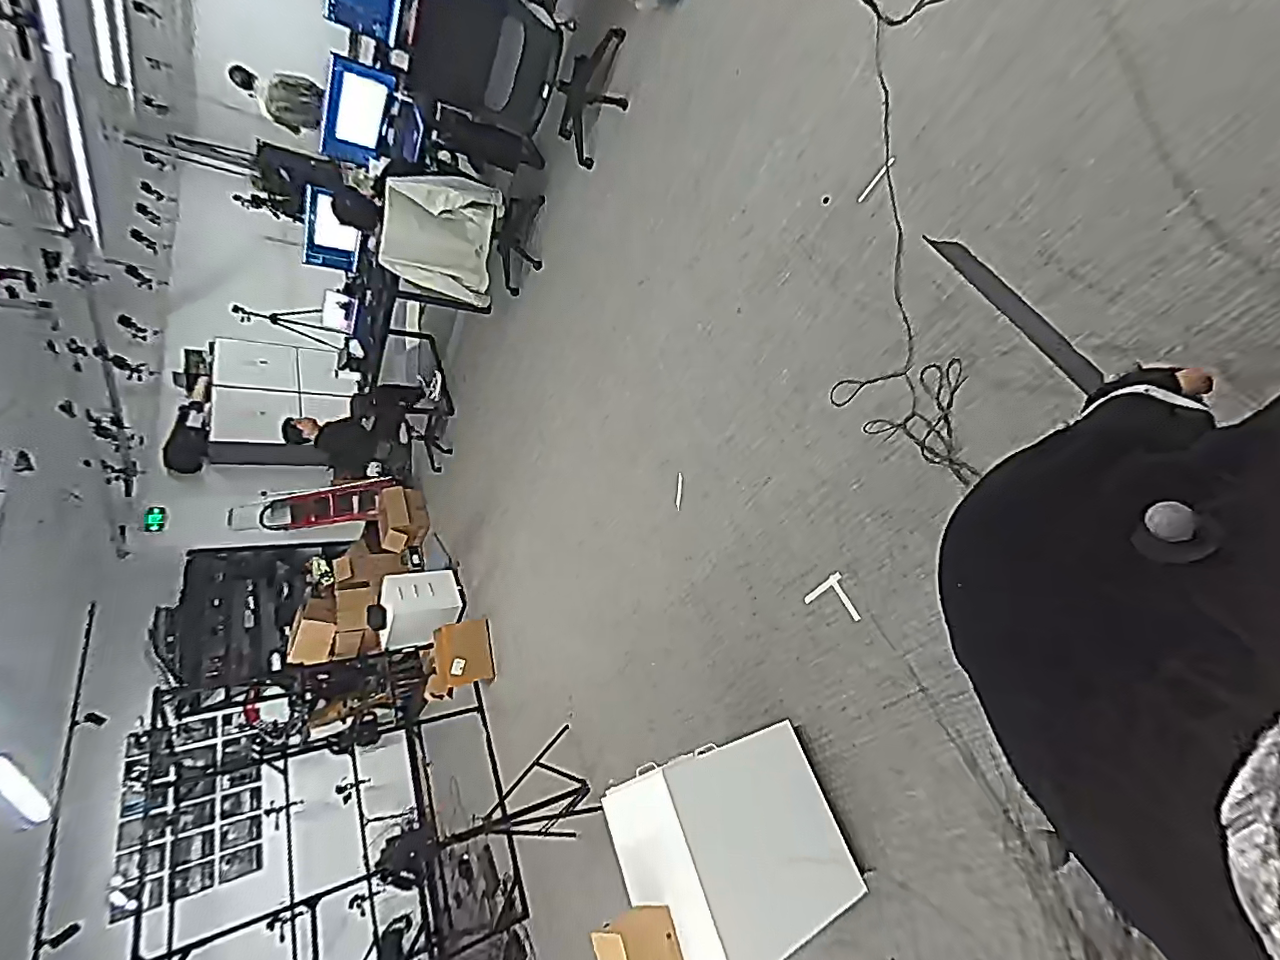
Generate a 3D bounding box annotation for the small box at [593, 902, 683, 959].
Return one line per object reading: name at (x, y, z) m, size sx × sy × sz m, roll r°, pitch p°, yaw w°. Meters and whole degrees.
small box at (0.002, 1.283, 1.474) m, size 0.179 × 0.176 × 0.168 m, roll -47°, pitch 53°, yaw 43°
